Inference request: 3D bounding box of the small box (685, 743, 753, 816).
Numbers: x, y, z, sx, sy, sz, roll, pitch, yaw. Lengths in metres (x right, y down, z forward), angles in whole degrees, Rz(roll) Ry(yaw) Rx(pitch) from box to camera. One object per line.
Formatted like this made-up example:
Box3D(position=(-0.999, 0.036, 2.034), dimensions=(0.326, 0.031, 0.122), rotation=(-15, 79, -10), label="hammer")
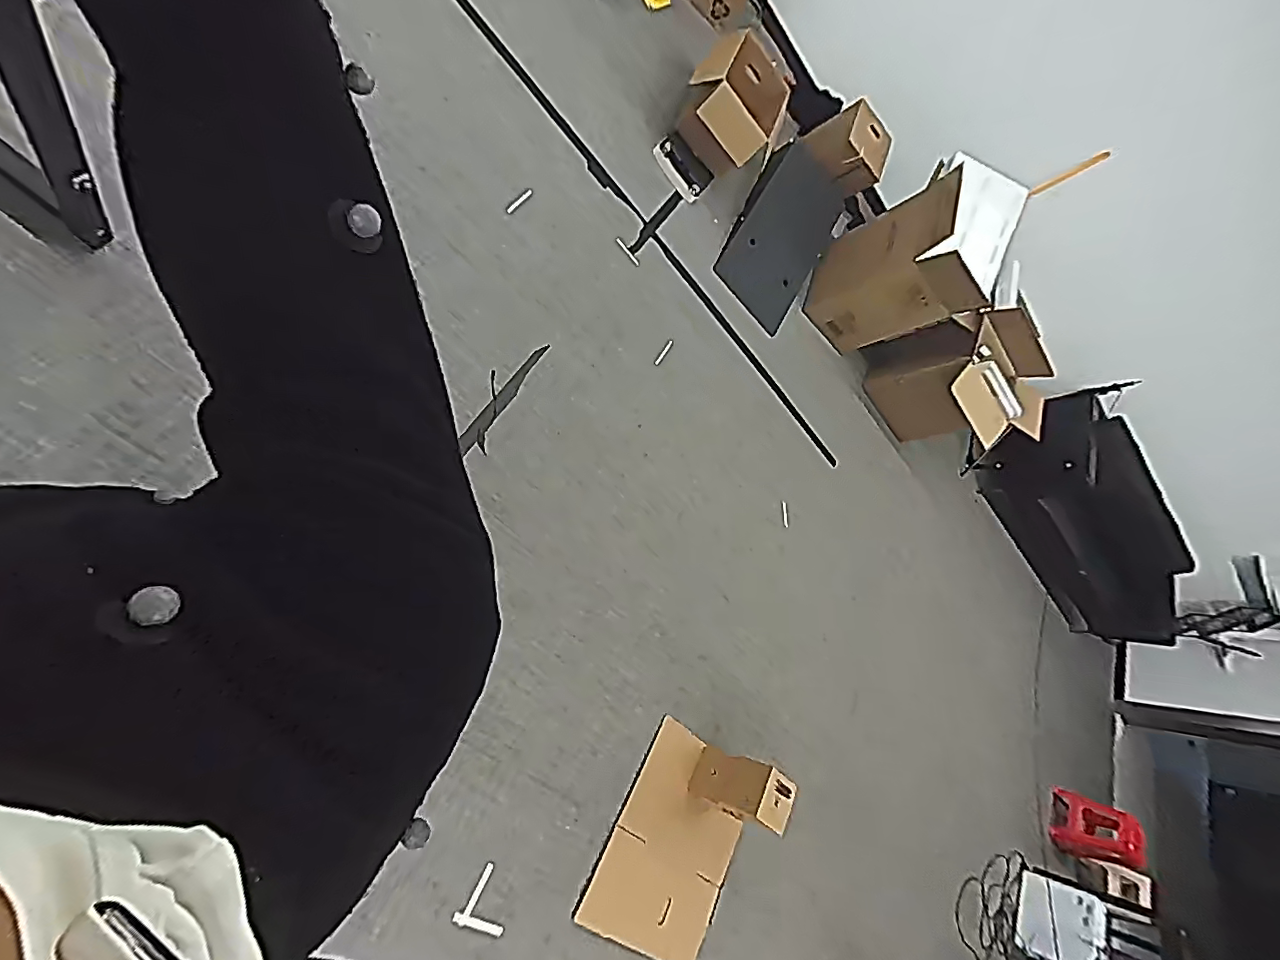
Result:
Box3D(position=(0.299, 1.150, 2.083), dimensions=(0.168, 0.176, 0.179), rotation=(45, 57, -24), label="small box")
